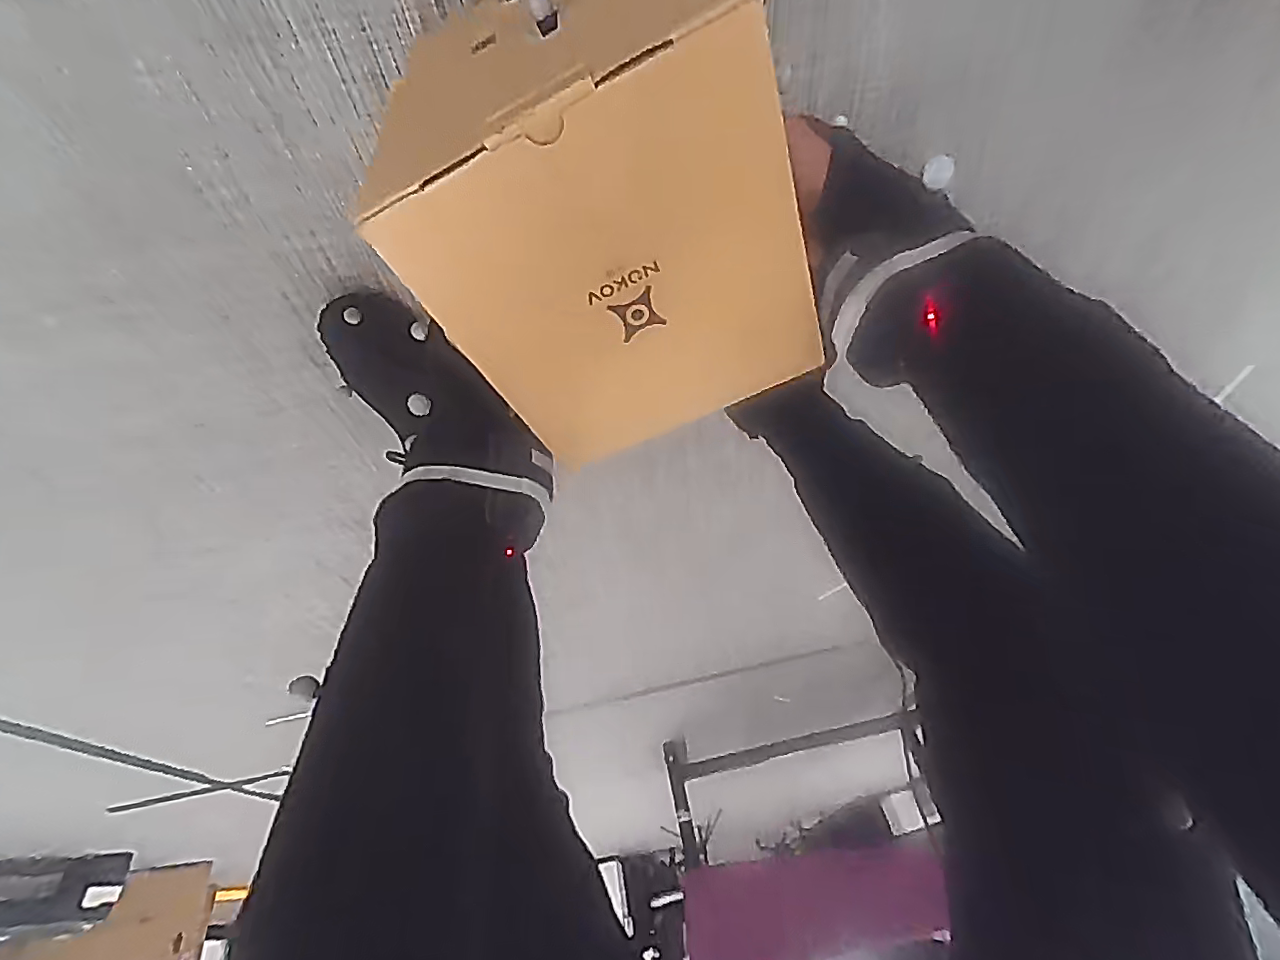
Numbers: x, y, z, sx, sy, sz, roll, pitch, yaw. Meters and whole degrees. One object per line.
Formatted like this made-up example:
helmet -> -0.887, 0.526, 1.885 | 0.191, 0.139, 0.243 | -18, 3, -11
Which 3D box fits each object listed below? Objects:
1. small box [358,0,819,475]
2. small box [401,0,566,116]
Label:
small box -> -0.017, -0.139, 0.306 | 0.168, 0.176, 0.179 | -23, 139, 11
small box -> -0.052, -0.256, 0.415 | 0.168, 0.176, 0.179 | -23, 140, 11
